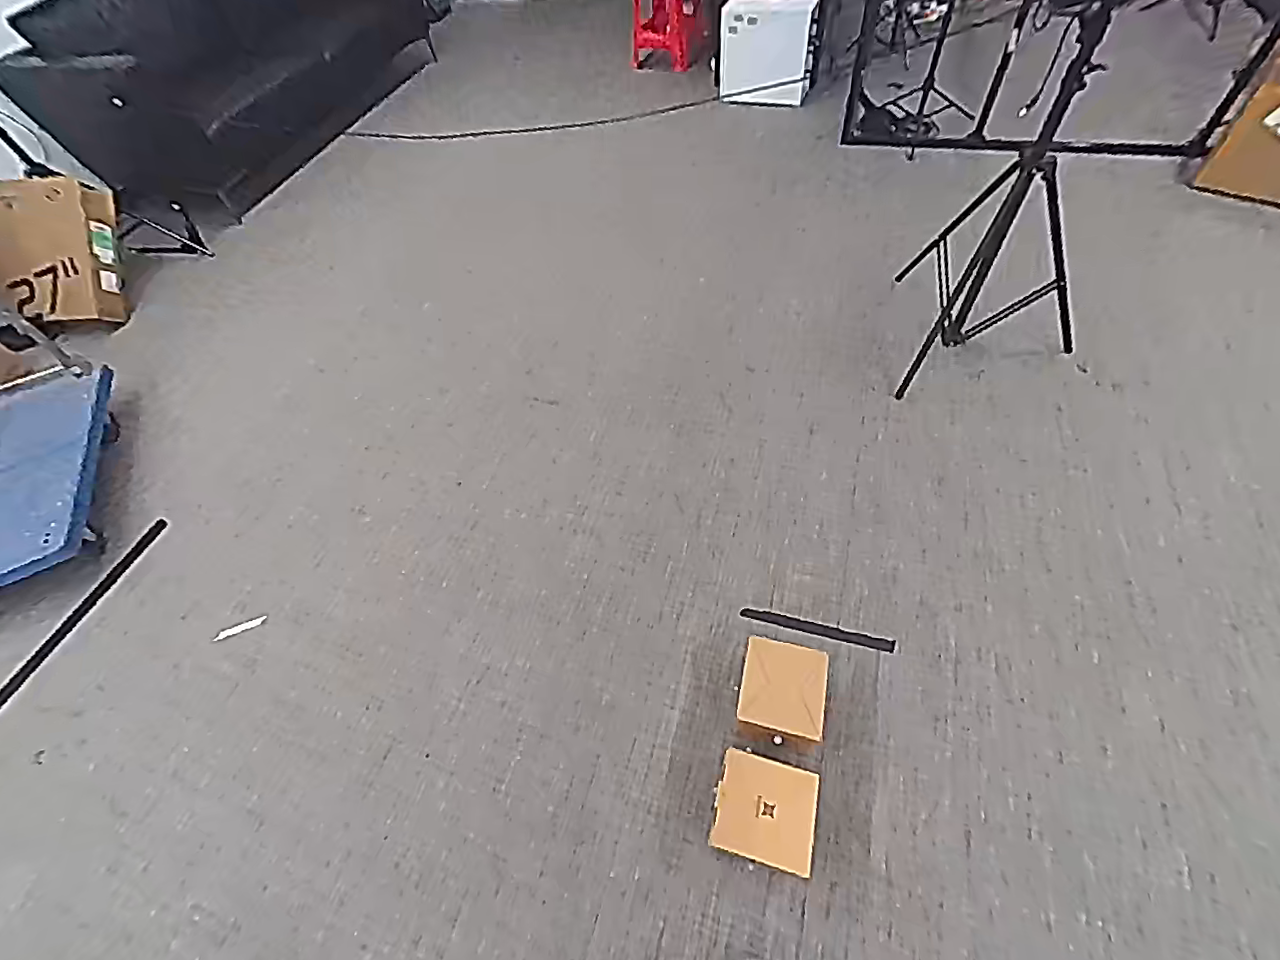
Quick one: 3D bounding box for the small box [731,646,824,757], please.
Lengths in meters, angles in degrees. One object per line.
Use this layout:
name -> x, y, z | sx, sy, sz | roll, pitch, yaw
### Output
small box -> 0.295, 0.474, 1.168 | 0.168, 0.176, 0.179 | 10, 57, 14

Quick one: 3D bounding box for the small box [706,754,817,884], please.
small box -> 0.232, 0.656, 1.054 | 0.179, 0.176, 0.168 | 11, 57, 15
